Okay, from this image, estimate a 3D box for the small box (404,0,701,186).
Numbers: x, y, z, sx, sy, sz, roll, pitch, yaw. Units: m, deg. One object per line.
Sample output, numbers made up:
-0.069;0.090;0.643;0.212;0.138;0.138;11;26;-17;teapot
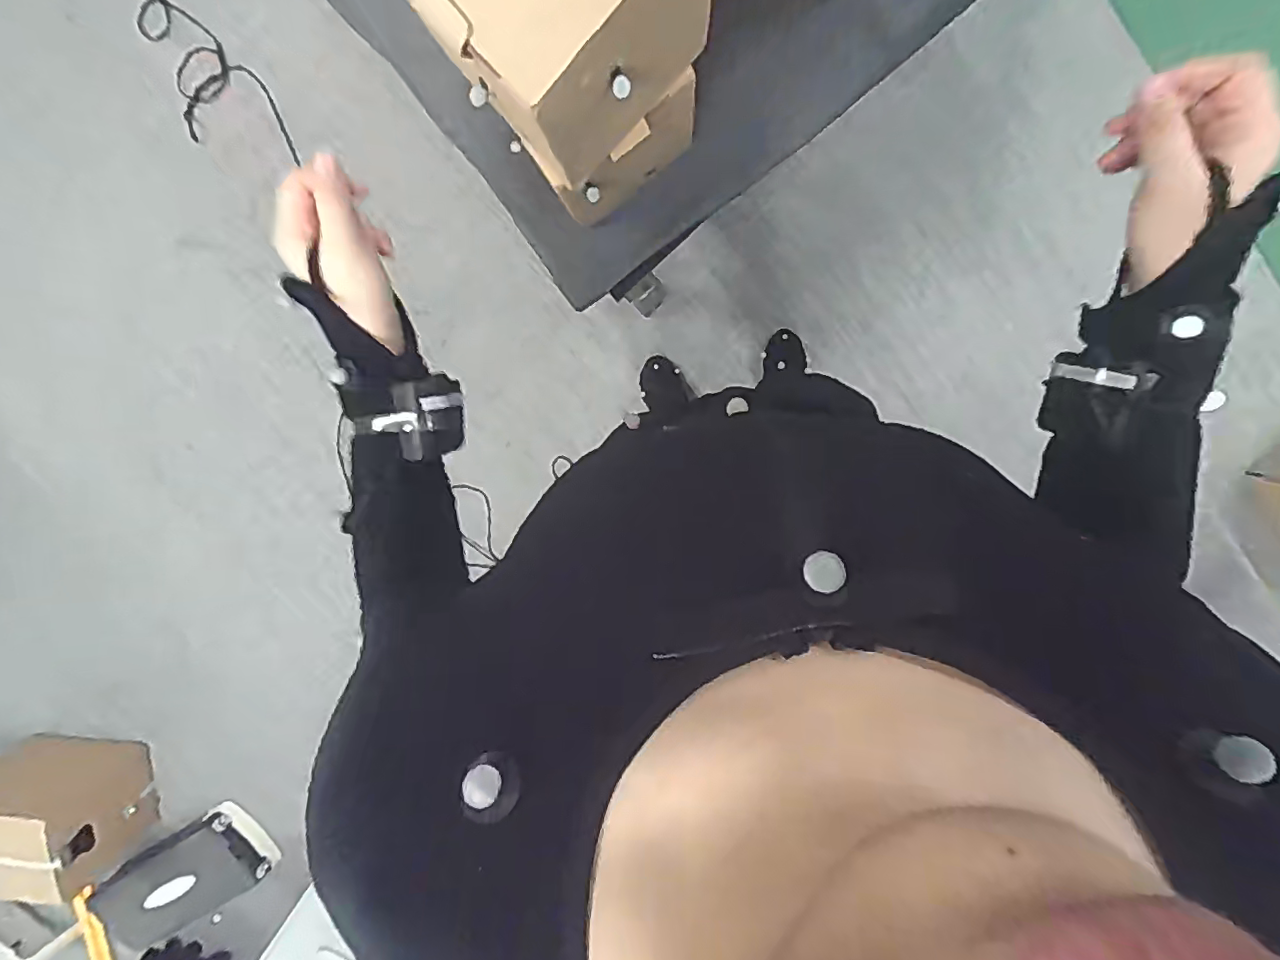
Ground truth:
-0.063;-0.371;0.419;0.179;0.176;0.168;-44;96;12;small box
